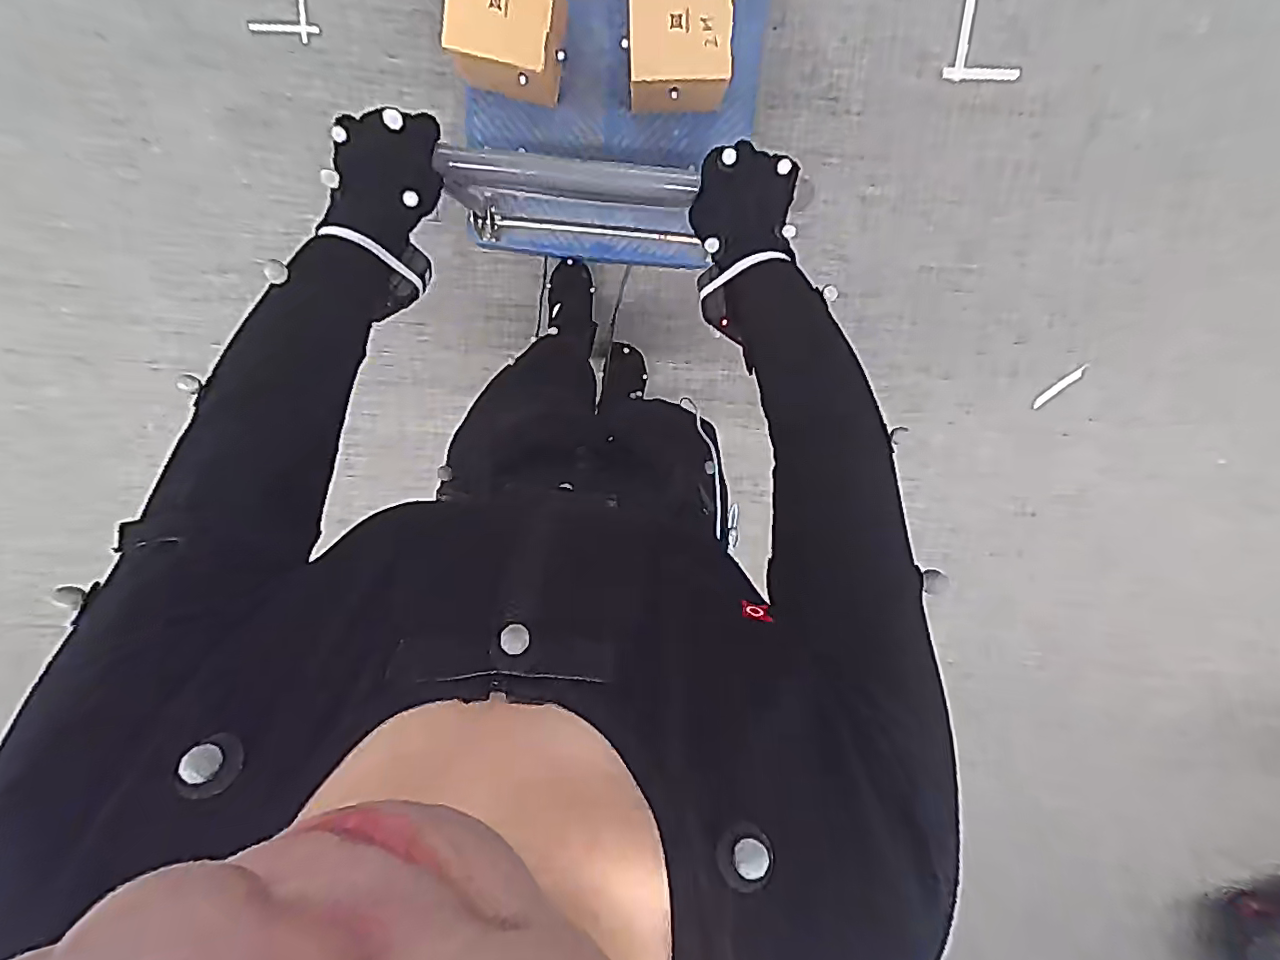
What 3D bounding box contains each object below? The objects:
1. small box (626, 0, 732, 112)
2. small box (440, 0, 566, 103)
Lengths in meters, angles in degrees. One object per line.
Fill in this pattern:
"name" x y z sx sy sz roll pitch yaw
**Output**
"small box" 0.066 -0.786 0.975 0.179 0.176 0.168 -1 108 0
"small box" -0.237 -0.809 0.966 0.179 0.176 0.168 10 107 -5
